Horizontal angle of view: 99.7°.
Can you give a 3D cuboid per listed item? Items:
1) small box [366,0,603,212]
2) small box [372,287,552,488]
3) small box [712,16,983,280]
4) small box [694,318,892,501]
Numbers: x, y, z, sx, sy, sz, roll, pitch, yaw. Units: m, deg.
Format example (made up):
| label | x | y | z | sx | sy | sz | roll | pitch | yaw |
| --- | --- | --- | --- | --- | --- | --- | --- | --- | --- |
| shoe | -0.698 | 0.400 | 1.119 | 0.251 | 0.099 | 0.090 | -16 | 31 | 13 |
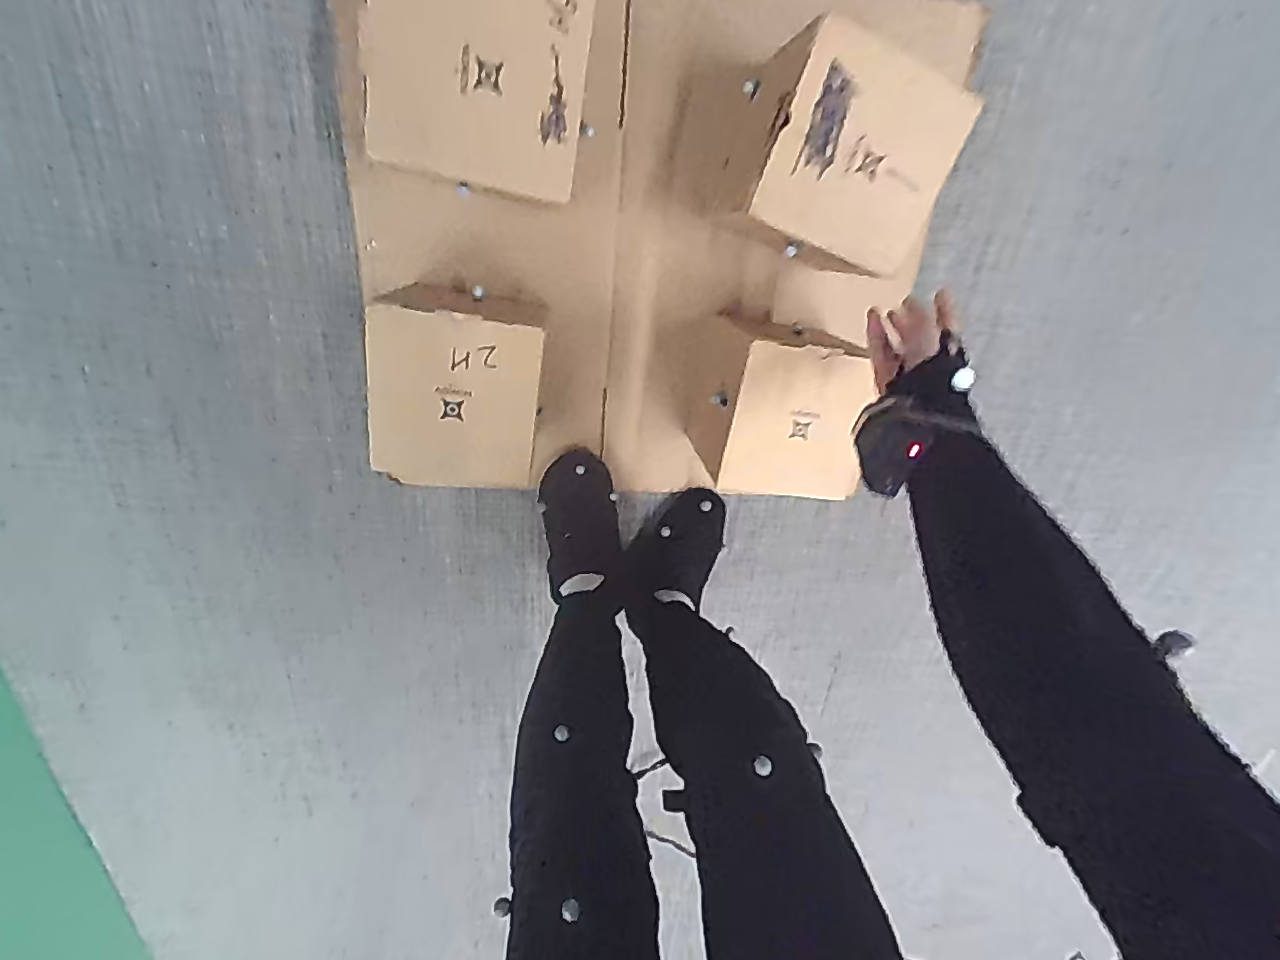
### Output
| label | x | y | z | sx | sy | sz | roll | pitch | yaw |
| --- | --- | --- | --- | --- | --- | --- | --- | --- | --- |
| small box | -0.138 | -0.362 | 0.513 | 0.179 | 0.176 | 0.168 | 8 | 112 | -11 |
| small box | -0.193 | -0.111 | 0.618 | 0.168 | 0.176 | 0.179 | 6 | 113 | -11 |
| small box | 0.197 | -0.327 | 0.572 | 0.179 | 0.176 | 0.168 | 16 | 111 | -16 |
| small box | 0.173 | -0.093 | 0.677 | 0.168 | 0.176 | 0.179 | 5 | 113 | -10 |
